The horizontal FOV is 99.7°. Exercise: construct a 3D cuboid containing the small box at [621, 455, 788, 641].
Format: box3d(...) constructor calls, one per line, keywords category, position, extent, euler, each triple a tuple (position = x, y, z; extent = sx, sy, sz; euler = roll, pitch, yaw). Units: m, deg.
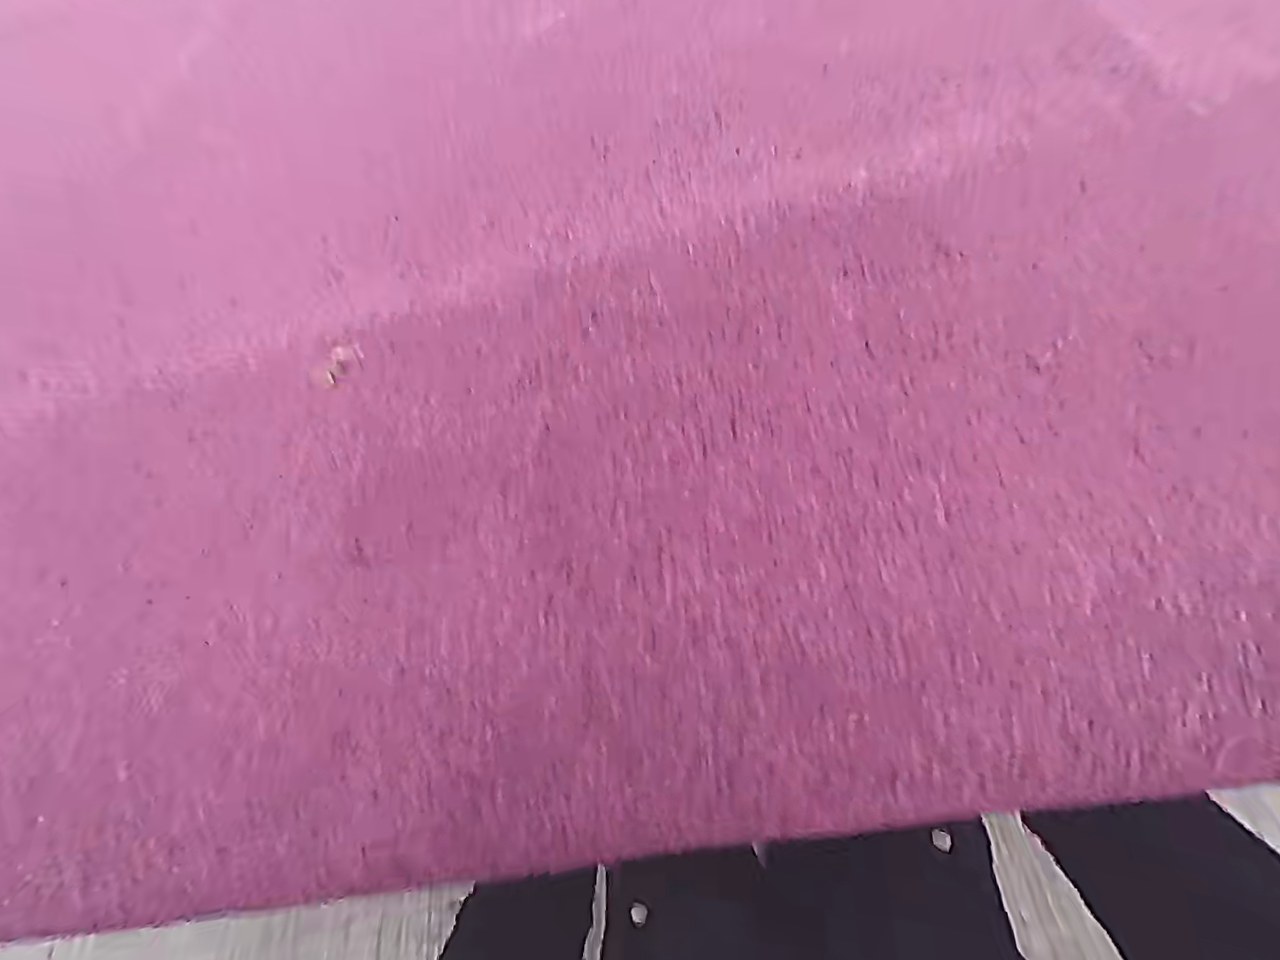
box3d(category="small box", position=(0.075, 0.092, 0.682), extent=(0.168, 0.176, 0.179), euler=(-11, 65, 3))
